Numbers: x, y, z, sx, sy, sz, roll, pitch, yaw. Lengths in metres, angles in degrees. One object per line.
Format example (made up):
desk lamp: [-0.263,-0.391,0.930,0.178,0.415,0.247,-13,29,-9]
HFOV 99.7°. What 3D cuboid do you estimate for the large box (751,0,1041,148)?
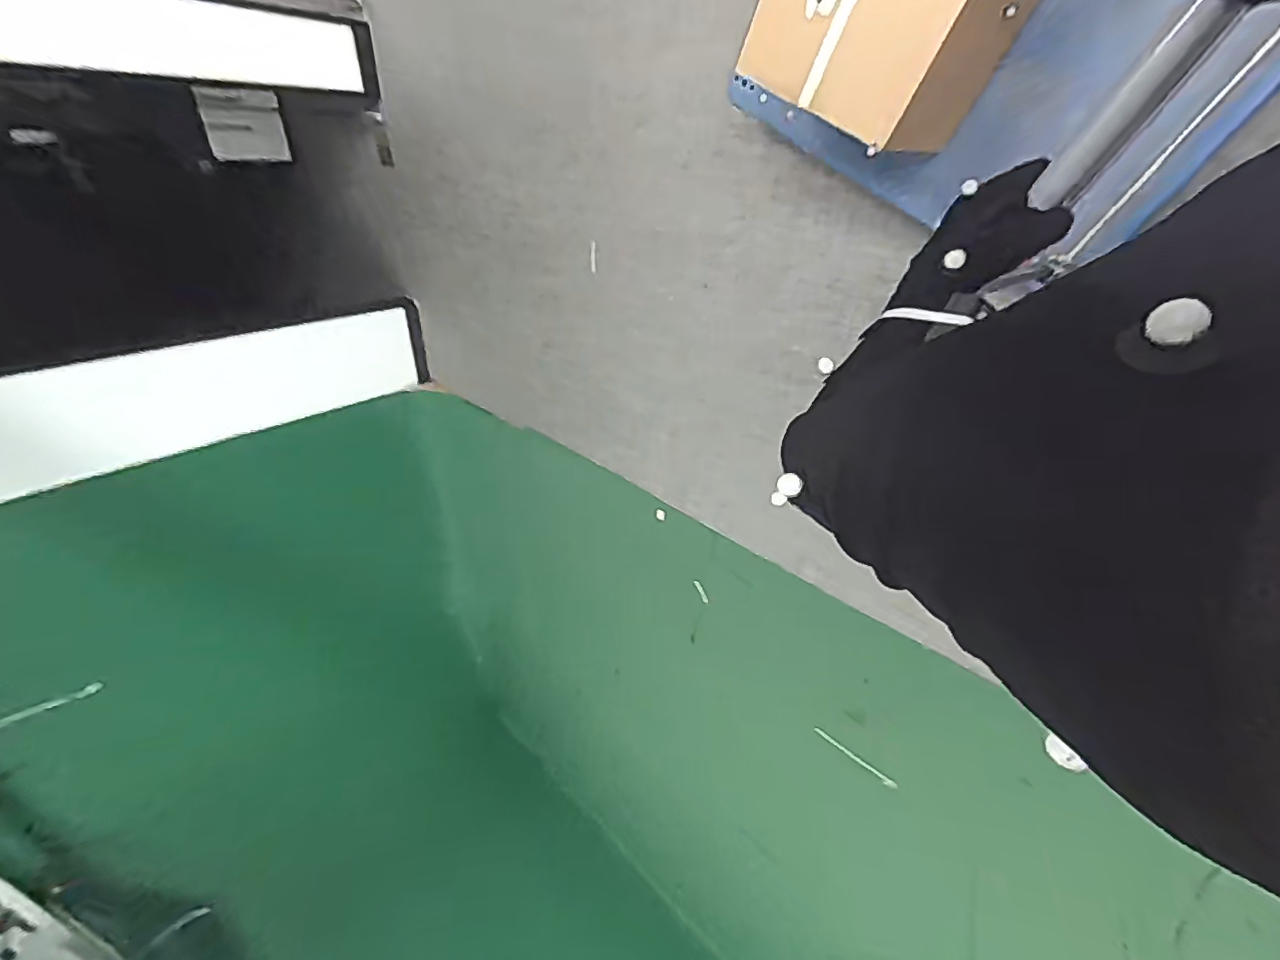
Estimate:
large box: [0.449,-0.807,0.852,0.320,0.320,0.408,44,138,19]
